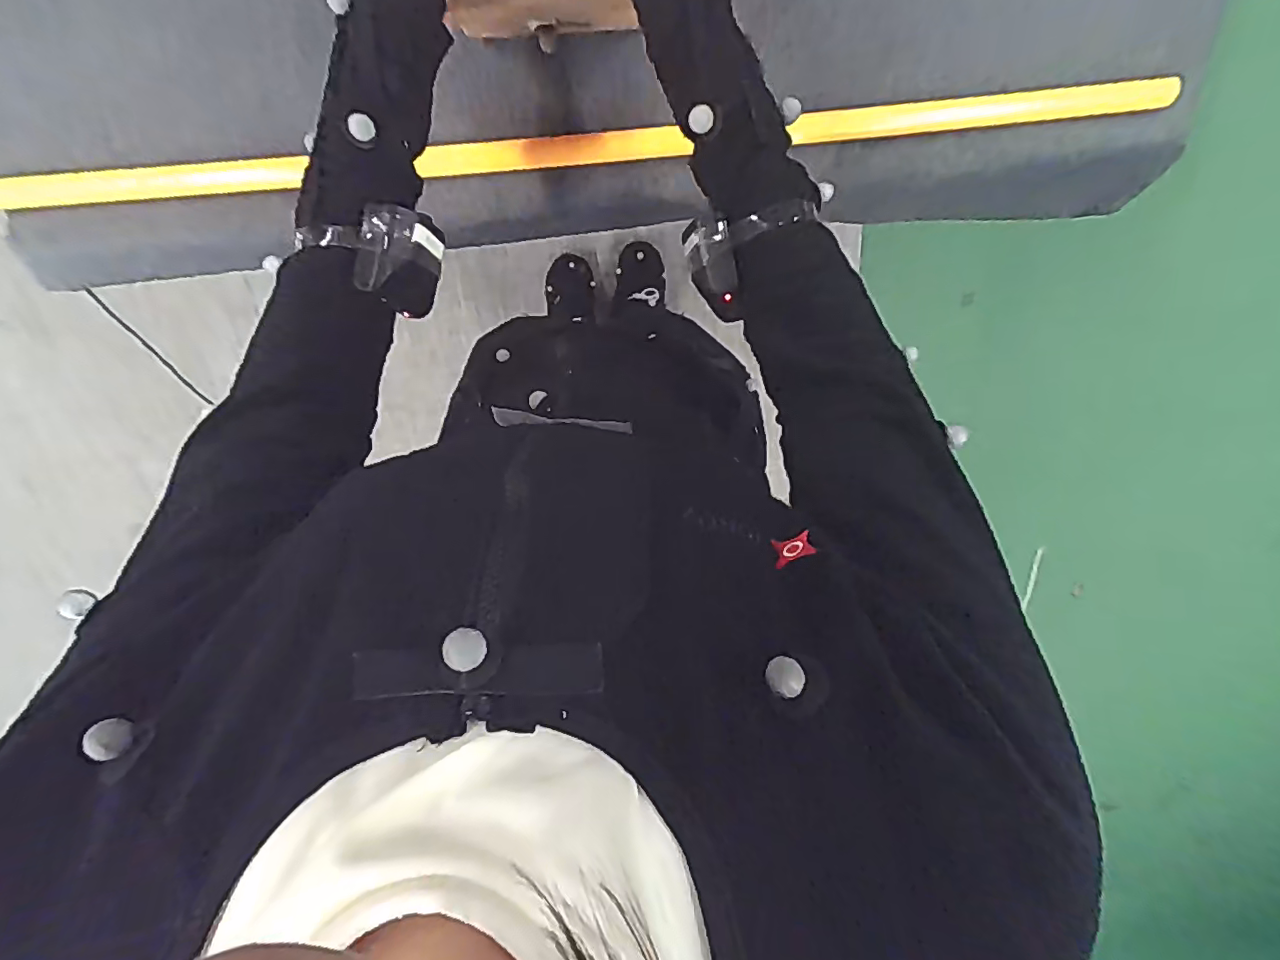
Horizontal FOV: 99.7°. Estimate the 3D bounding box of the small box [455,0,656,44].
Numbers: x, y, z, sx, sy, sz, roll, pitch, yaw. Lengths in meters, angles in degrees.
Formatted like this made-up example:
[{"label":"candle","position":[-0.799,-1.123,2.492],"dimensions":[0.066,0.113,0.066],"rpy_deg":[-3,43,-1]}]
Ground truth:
[{"label":"small box","position":[-0.073,-0.450,0.392],"dimensions":[0.168,0.176,0.179],"rpy_deg":[-7,120,-2]}]
